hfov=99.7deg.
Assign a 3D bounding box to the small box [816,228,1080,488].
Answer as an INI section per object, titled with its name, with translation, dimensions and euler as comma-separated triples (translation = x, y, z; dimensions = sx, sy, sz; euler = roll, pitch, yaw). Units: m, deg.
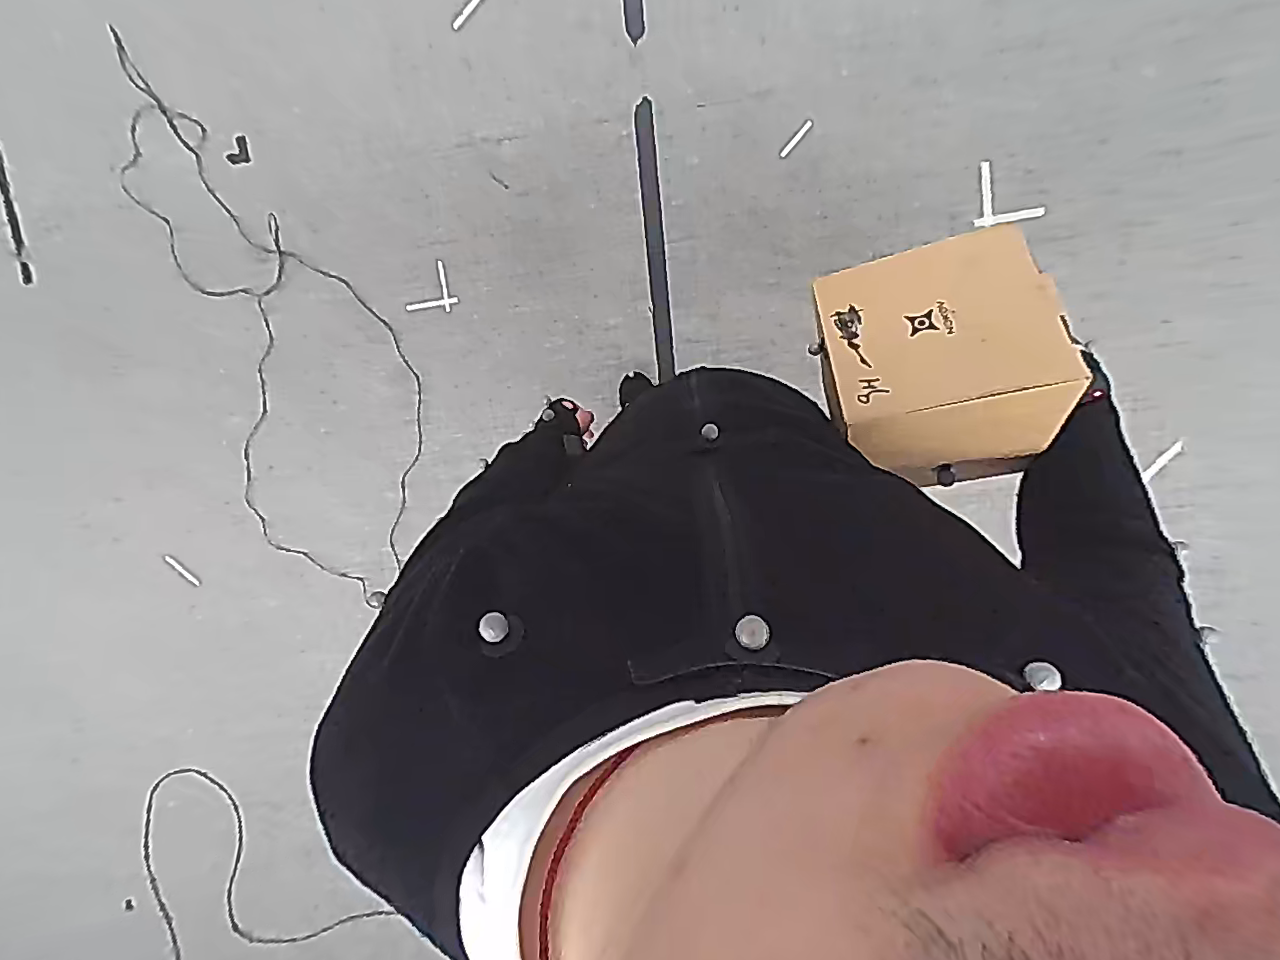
[small box]
translation = 0.282, -0.106, 0.540
dimensions = 0.179, 0.176, 0.168
euler = -11, 62, 17
